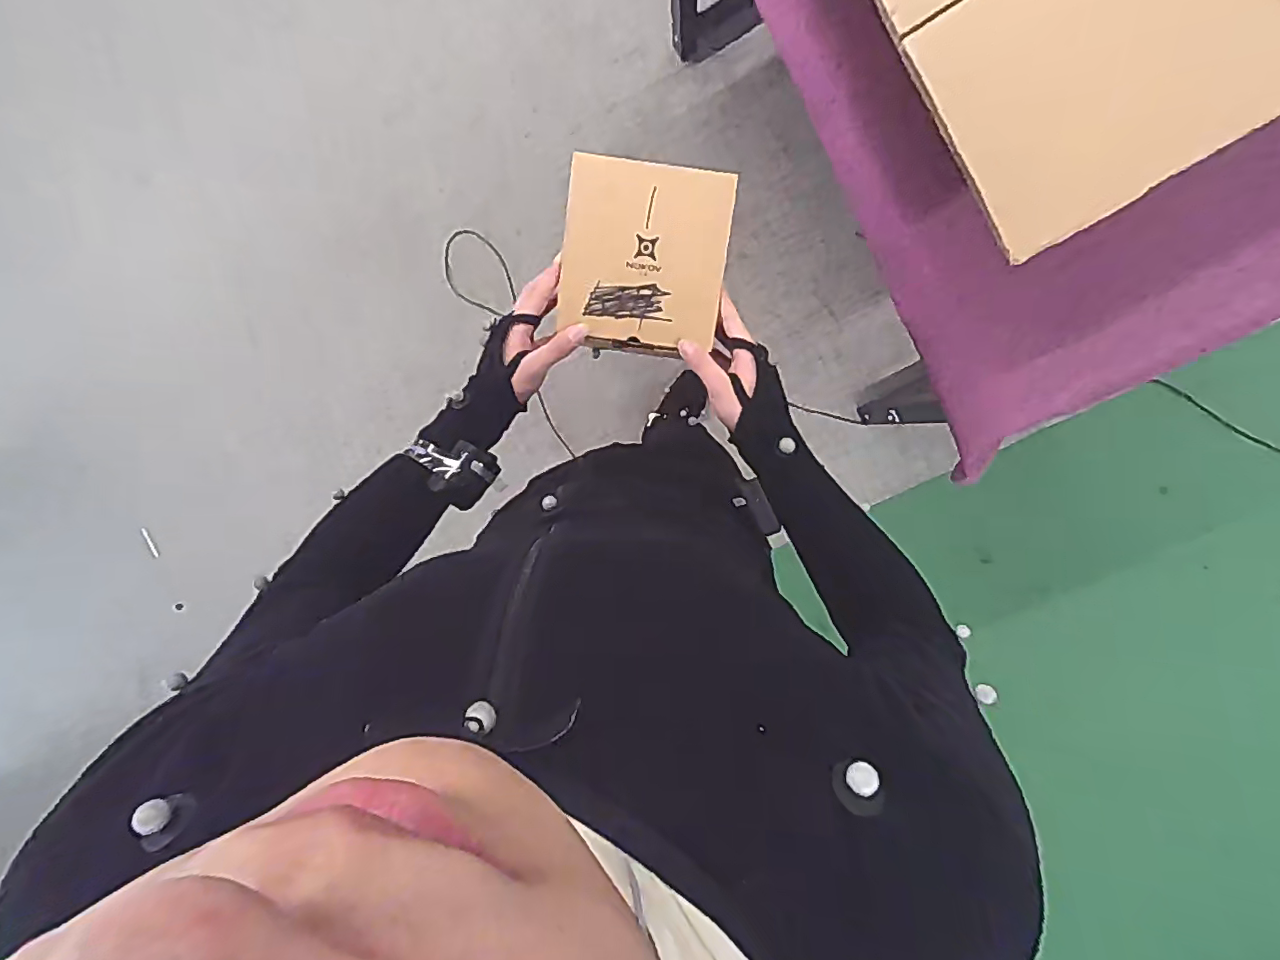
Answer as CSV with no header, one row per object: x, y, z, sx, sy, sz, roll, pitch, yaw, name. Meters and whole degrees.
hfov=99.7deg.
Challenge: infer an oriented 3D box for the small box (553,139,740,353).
0.005,-0.243,0.609,0.168,0.176,0.179,8,100,-1,small box
